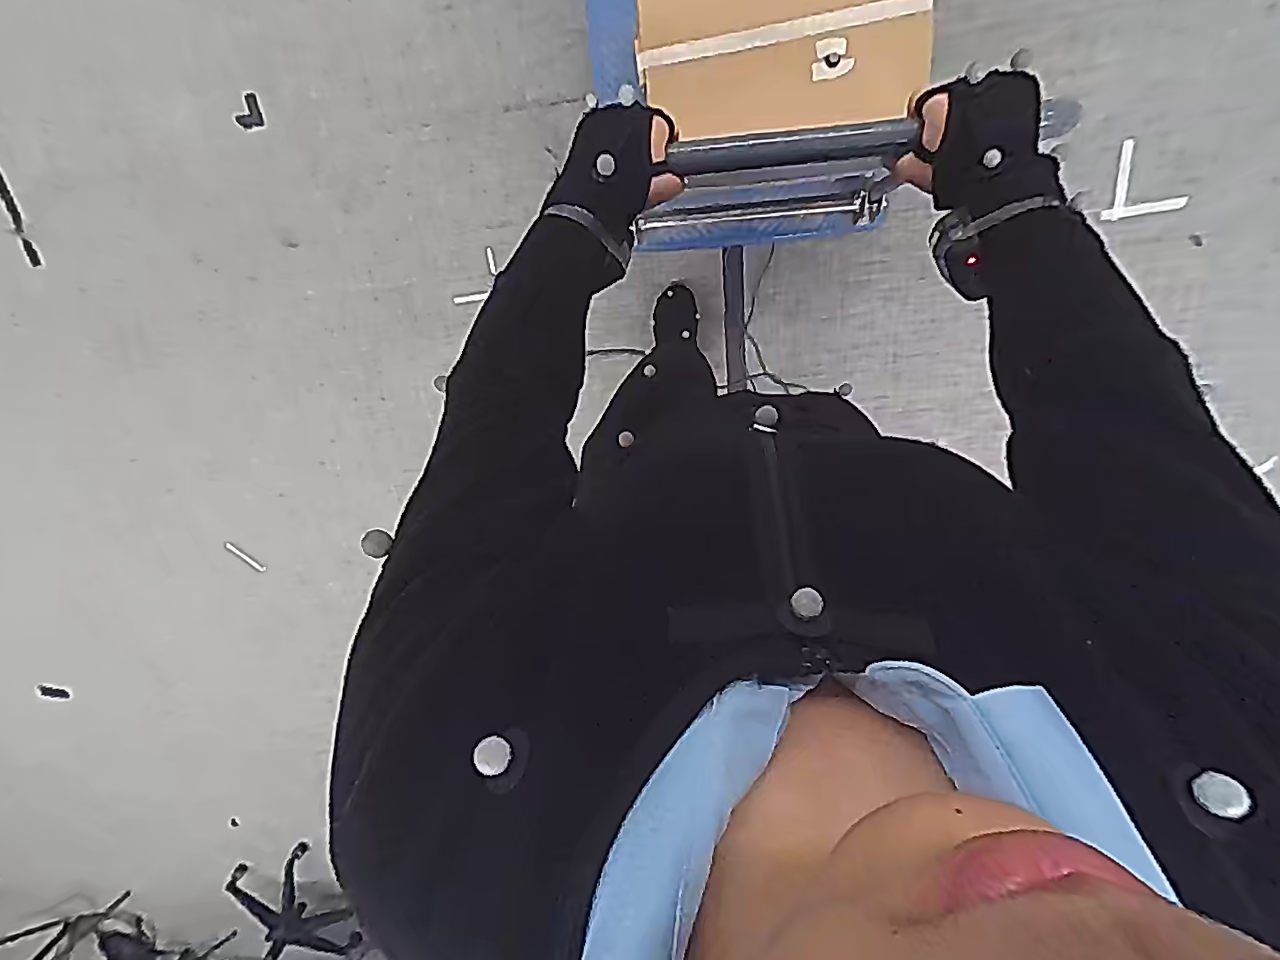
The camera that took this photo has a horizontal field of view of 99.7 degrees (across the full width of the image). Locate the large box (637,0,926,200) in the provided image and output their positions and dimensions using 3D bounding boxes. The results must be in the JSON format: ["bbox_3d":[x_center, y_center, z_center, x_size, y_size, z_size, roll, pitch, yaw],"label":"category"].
[{"bbox_3d":[0.217,-0.698,0.922,0.408,0.320,0.320,-6,111,7],"label":"large box"}]
